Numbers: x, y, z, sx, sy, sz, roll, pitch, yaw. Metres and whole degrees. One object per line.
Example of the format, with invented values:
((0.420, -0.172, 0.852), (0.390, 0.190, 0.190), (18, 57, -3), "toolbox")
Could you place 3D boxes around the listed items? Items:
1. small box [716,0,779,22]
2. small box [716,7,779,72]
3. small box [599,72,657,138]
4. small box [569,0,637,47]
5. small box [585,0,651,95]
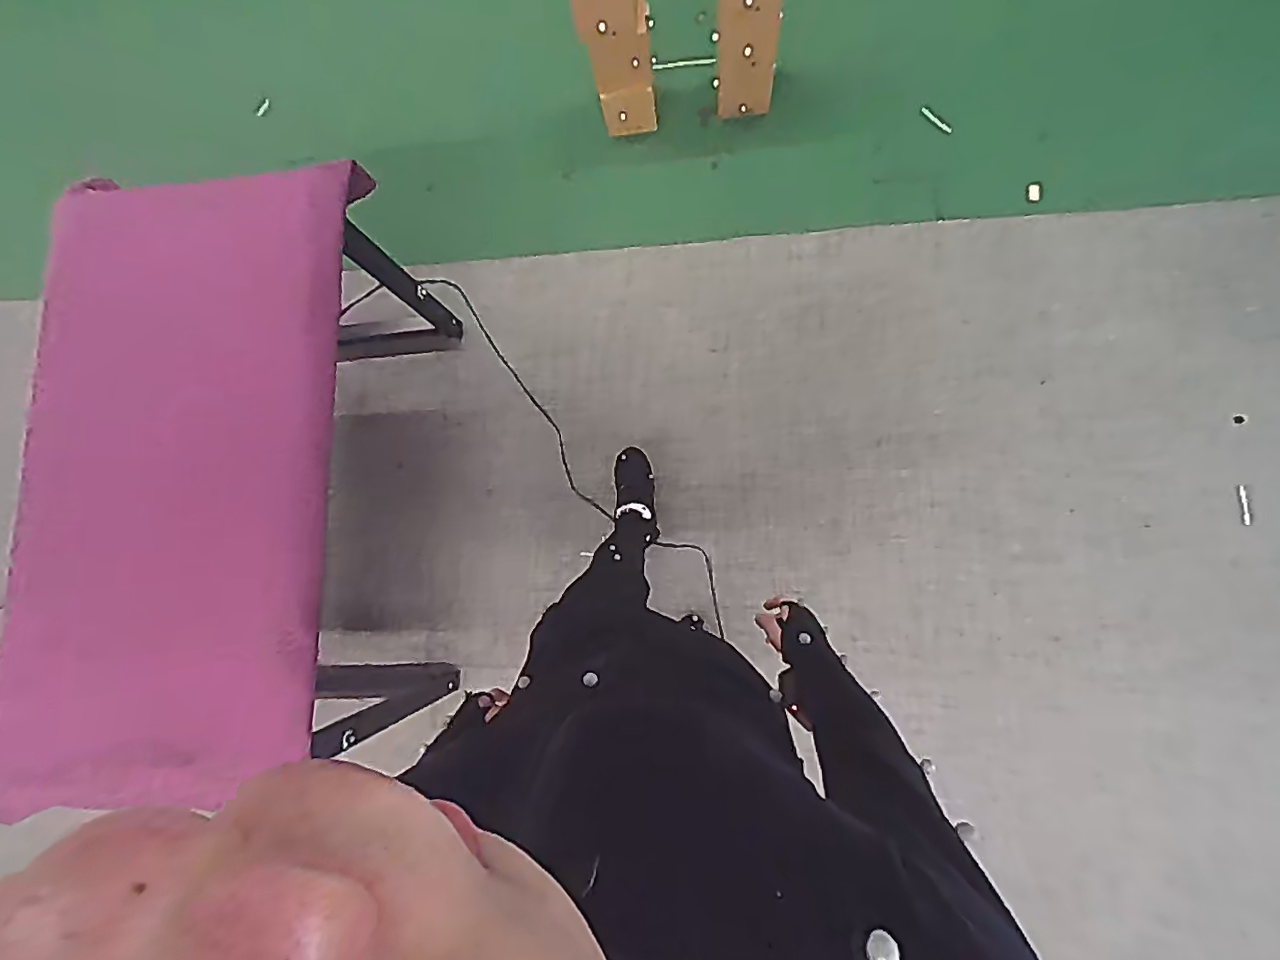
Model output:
((0.279, -1.334, 1.386), (0.168, 0.176, 0.179), (0, 83, 8), "small box")
((0.304, -1.311, 1.548), (0.168, 0.176, 0.179), (-1, 84, 7), "small box")
((-0.039, -1.247, 1.753), (0.168, 0.176, 0.179), (-5, 81, 7), "small box")
((-0.101, -1.310, 1.439), (0.168, 0.176, 0.179), (-1, 81, 8), "small box")
((-0.062, -1.285, 1.597), (0.179, 0.176, 0.168), (-5, 80, 8), "small box")
